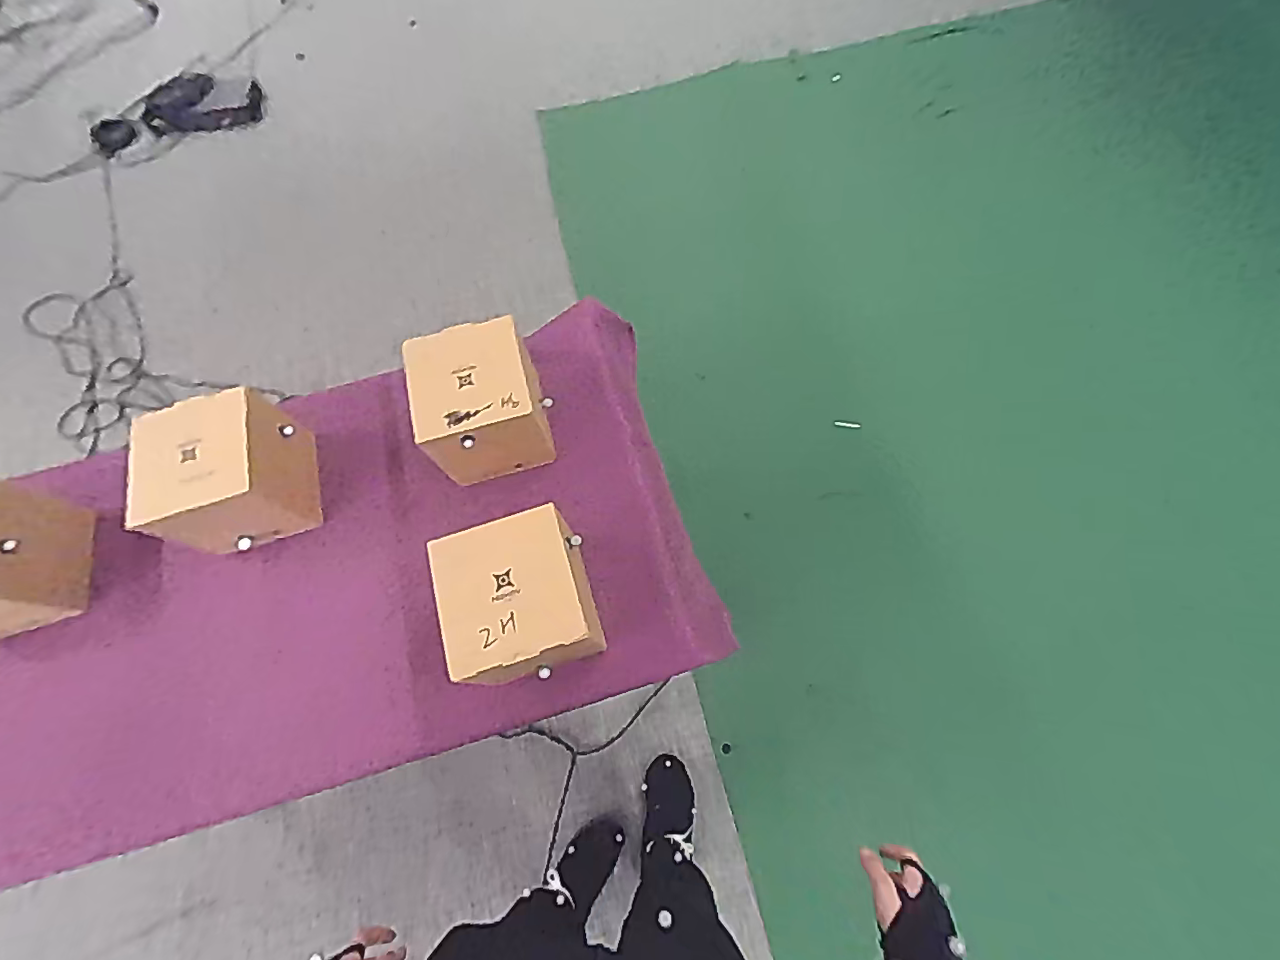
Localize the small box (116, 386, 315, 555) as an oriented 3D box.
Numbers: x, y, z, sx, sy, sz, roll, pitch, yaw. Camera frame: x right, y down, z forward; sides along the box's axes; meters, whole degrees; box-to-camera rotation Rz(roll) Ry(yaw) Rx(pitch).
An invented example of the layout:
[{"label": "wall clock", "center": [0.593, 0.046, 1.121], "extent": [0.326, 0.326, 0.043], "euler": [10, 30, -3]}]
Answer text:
[{"label": "small box", "center": [-0.620, -0.007, 0.811], "extent": [0.168, 0.176, 0.179], "euler": [-17, 68, -3]}]

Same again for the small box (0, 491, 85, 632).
[{"label": "small box", "center": [-0.961, 0.121, 0.774], "extent": [0.168, 0.176, 0.179], "euler": [-17, 67, -4]}]

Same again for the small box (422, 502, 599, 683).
[{"label": "small box", "center": [-0.162, 0.155, 0.712], "extent": [0.168, 0.176, 0.179], "euler": [-18, 68, -3]}]

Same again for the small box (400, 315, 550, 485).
[{"label": "small box", "center": [-0.248, -0.117, 0.834], "extent": [0.168, 0.176, 0.179], "euler": [-16, 67, -2]}]
